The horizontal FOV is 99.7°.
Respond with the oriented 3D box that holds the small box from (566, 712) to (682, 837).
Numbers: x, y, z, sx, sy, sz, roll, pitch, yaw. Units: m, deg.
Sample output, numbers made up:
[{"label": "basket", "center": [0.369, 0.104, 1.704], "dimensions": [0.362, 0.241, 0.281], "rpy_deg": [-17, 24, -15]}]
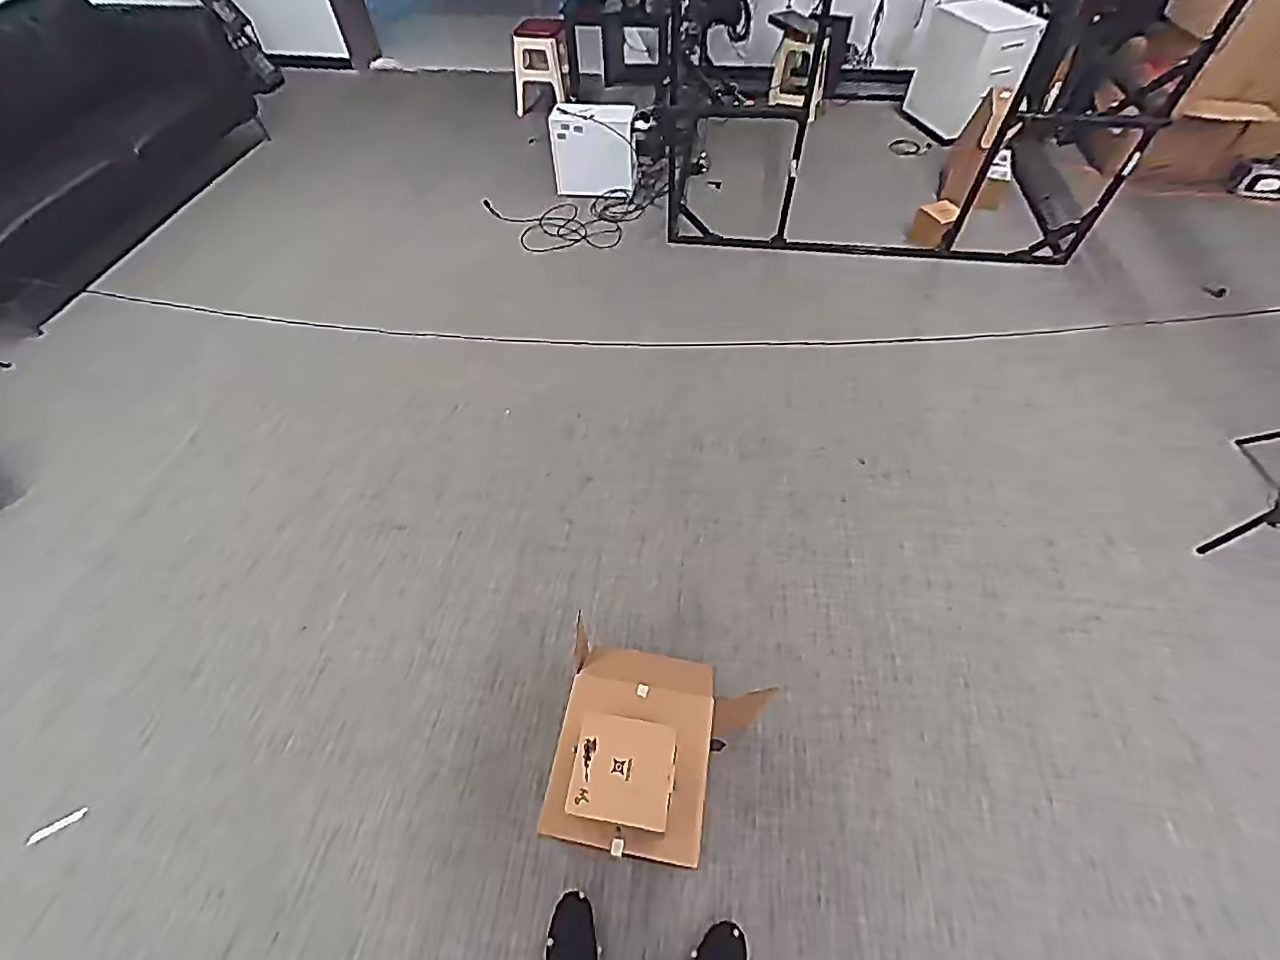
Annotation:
[{"label": "small box", "center": [-0.024, 0.545, 0.997], "dimensions": [0.179, 0.176, 0.168], "rpy_deg": [8, 56, 7]}]
